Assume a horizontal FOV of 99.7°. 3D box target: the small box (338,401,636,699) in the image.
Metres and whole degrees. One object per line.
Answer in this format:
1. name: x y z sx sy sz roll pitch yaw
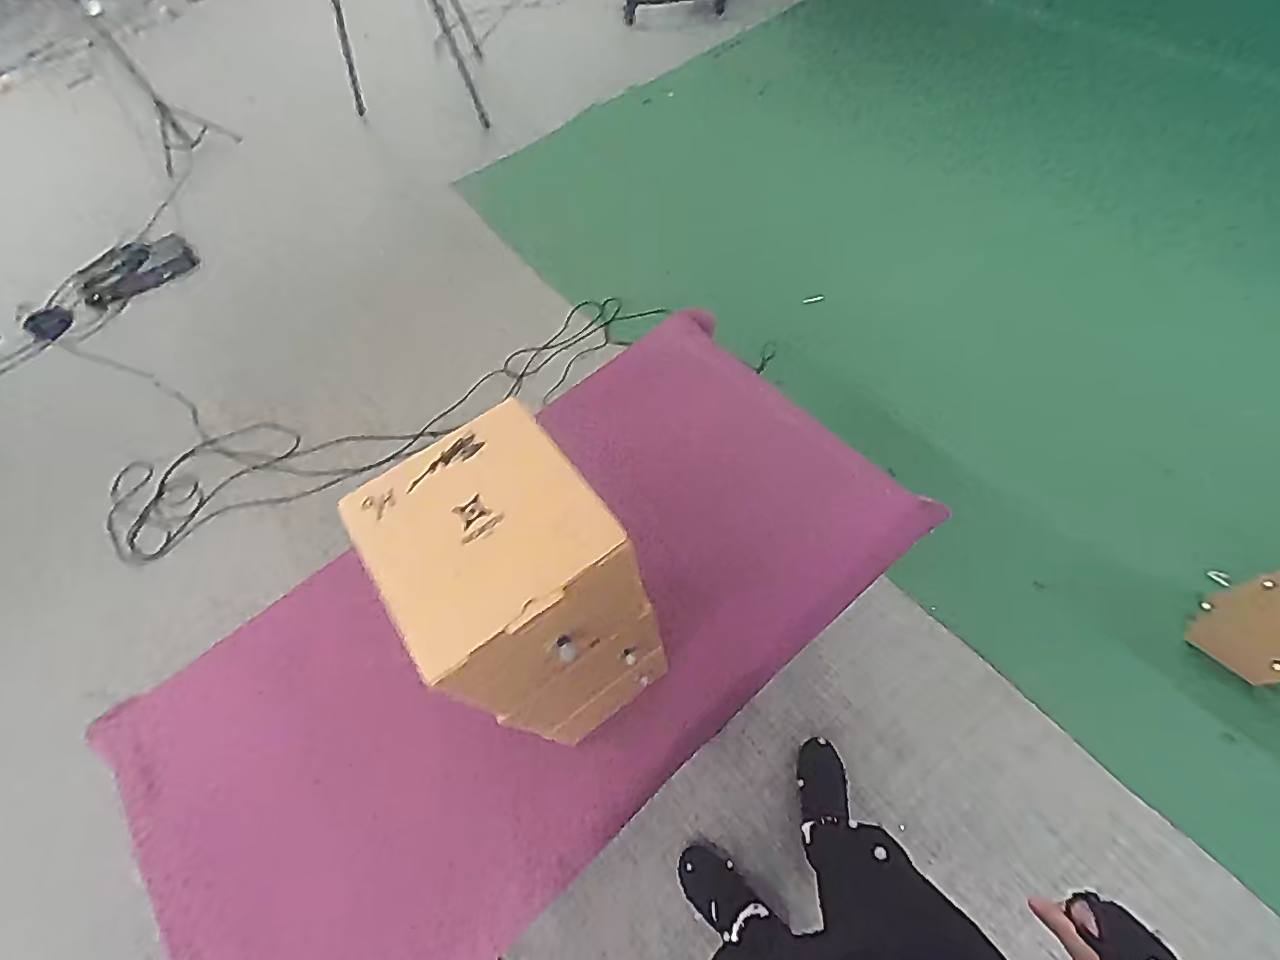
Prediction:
1. small box: -0.118 0.072 0.477 0.168 0.176 0.179 -34 63 -13

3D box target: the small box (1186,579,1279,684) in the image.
1. small box: 1.534 0.380 1.332 0.168 0.176 0.179 -41 65 -16

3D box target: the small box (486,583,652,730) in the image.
1. small box: -0.099 0.157 0.615 0.179 0.176 0.168 -34 62 -13
